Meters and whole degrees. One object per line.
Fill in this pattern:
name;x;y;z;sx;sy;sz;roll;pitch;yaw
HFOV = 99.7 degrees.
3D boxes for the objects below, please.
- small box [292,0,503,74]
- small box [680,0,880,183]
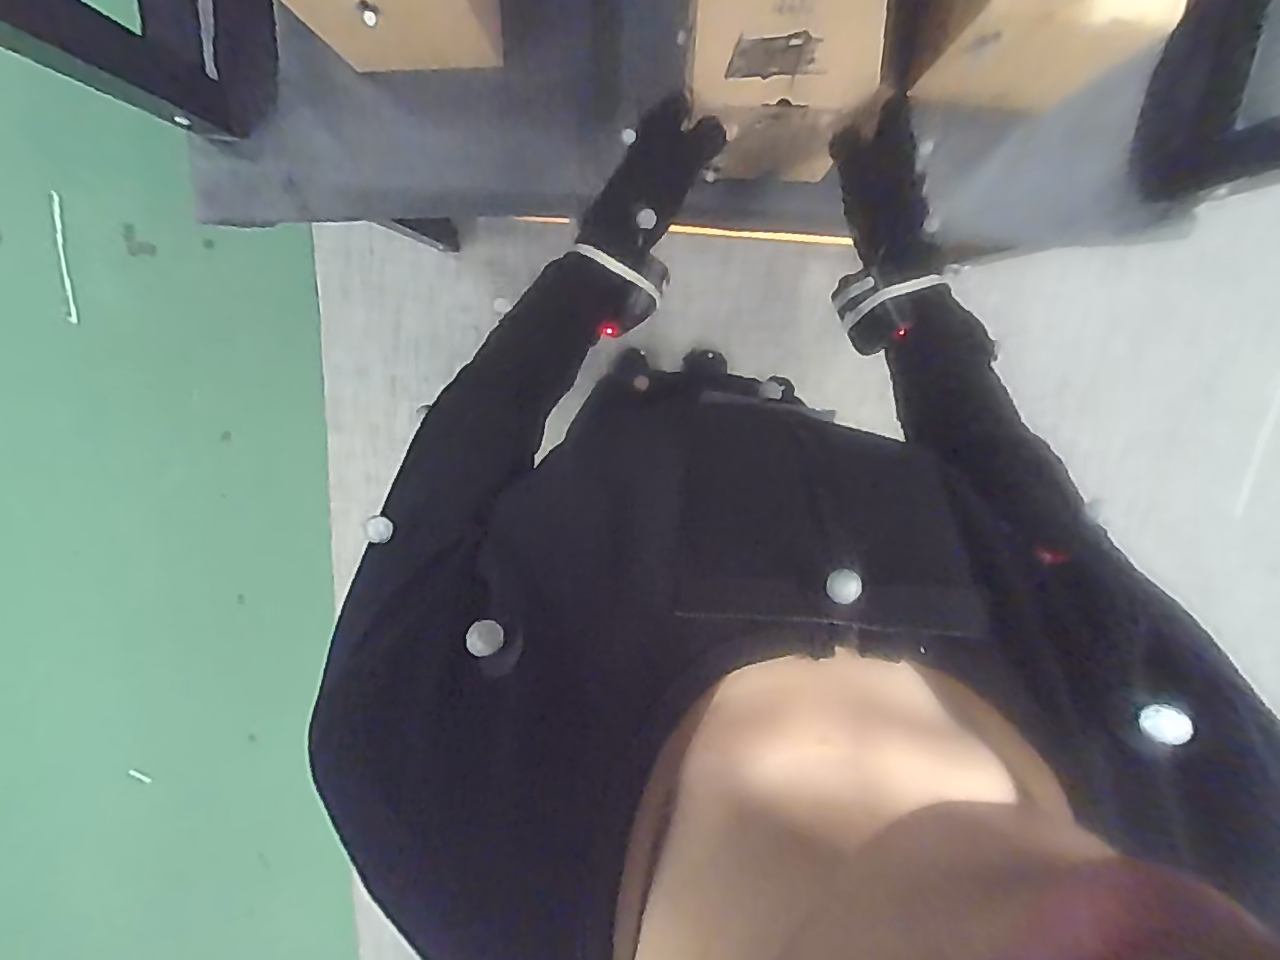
small box;-0.249;-0.538;0.540;0.179;0.176;0.168;0;104;1
small box;0.130;-0.425;0.552;0.168;0.176;0.179;3;99;1
